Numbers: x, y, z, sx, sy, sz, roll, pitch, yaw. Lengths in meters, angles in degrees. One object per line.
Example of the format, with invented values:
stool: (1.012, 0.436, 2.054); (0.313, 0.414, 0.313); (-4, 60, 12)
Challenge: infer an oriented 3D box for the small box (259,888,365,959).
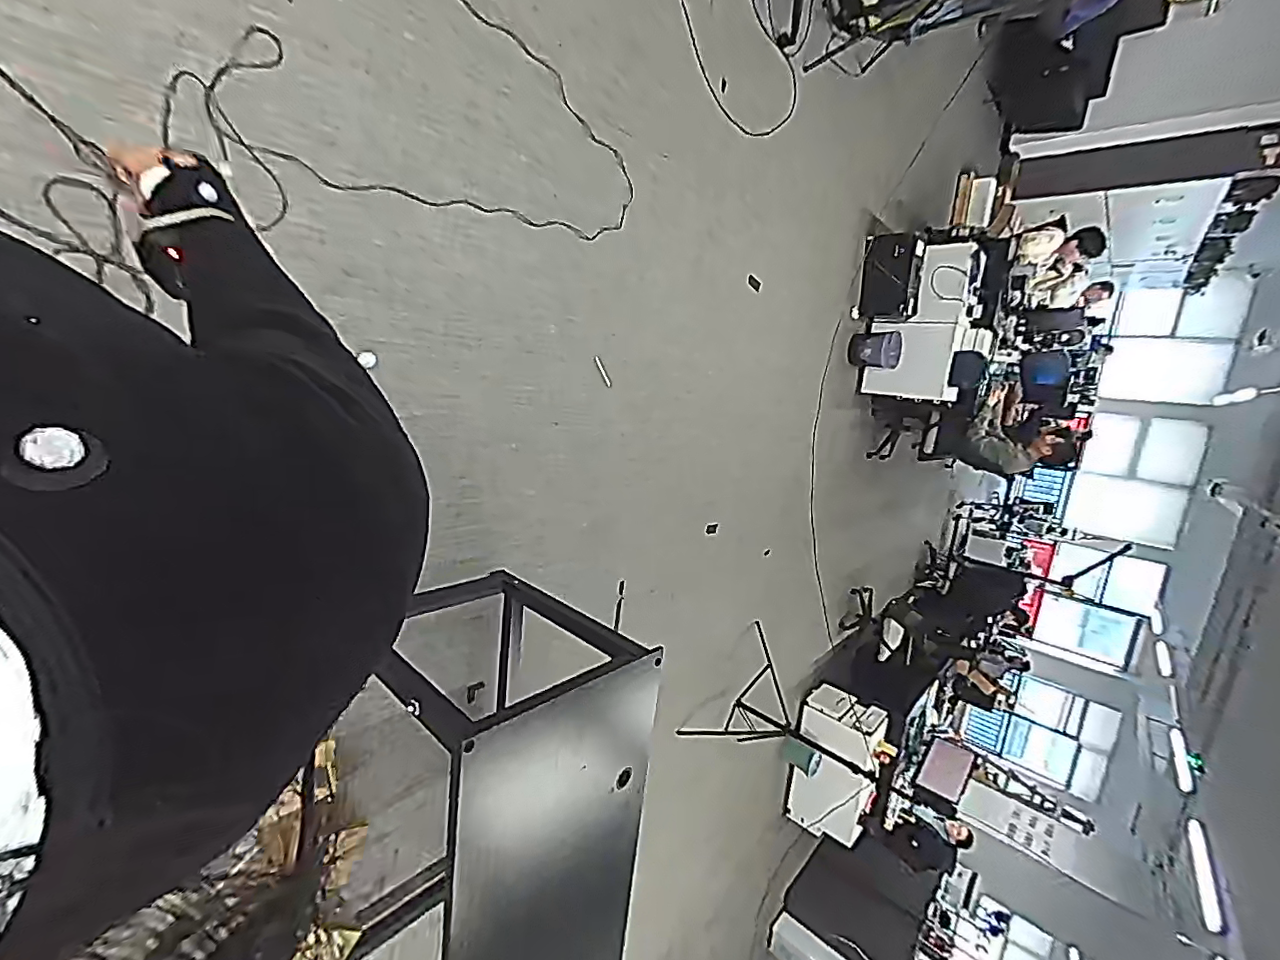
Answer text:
small box: (-0.953, 1.319, 1.571); (0.168, 0.176, 0.179); (-55, 136, -22)

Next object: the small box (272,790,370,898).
small box: (-0.908, 1.021, 1.533); (0.168, 0.176, 0.179); (26, 81, -51)

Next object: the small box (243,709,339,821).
small box: (-0.920, 0.739, 1.428); (0.179, 0.176, 0.168); (-7, 107, -47)
